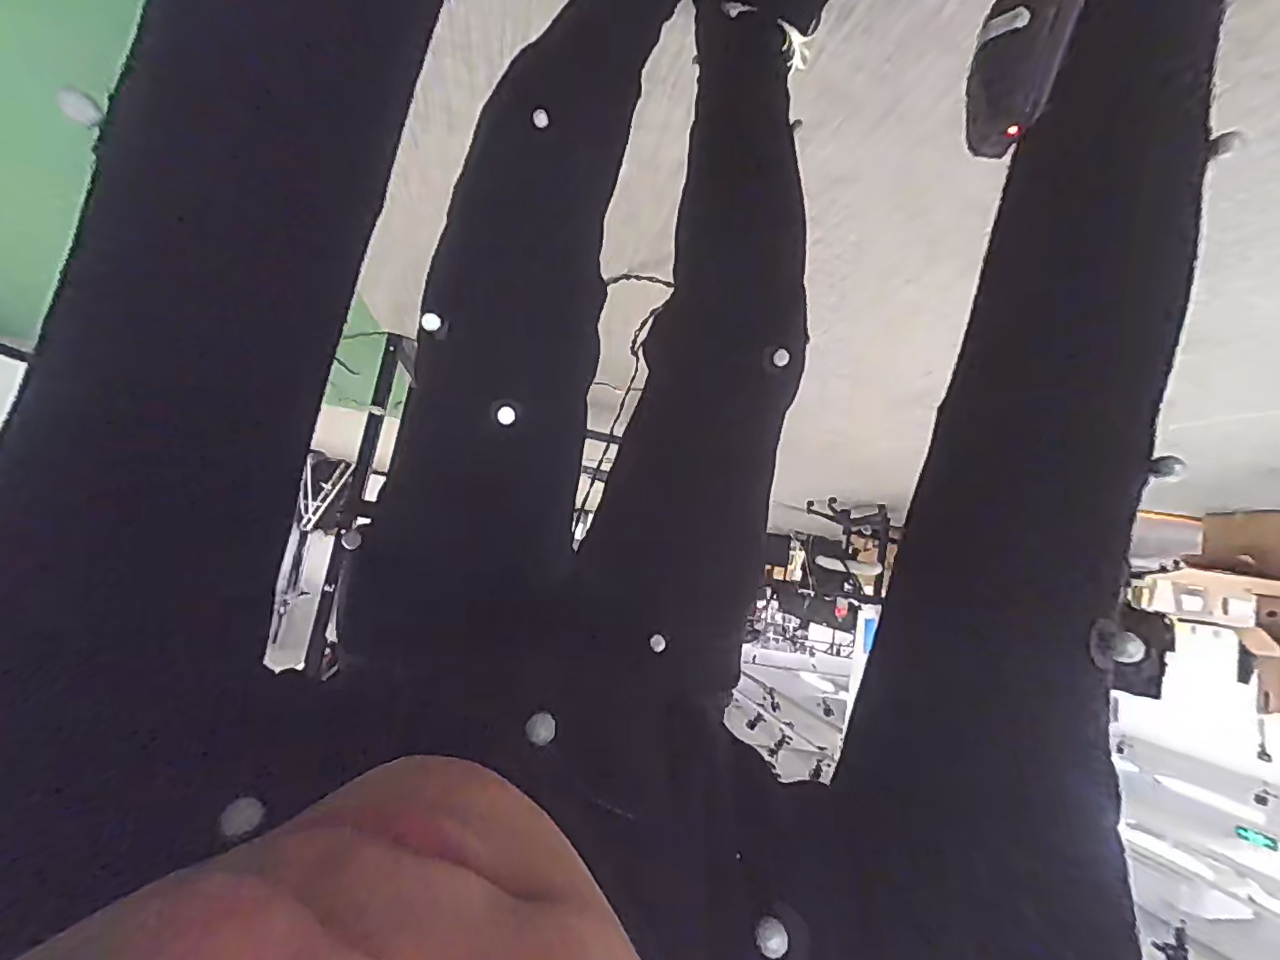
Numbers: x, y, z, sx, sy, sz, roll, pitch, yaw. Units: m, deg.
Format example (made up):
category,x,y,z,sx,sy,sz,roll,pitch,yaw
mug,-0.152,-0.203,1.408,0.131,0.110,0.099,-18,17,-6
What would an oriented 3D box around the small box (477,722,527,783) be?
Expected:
category,x,y,z,sx,sy,sz,roll,pitch,yaw
small box,-0.564,1.108,2.207,0.168,0.176,0.179,13,173,-14
